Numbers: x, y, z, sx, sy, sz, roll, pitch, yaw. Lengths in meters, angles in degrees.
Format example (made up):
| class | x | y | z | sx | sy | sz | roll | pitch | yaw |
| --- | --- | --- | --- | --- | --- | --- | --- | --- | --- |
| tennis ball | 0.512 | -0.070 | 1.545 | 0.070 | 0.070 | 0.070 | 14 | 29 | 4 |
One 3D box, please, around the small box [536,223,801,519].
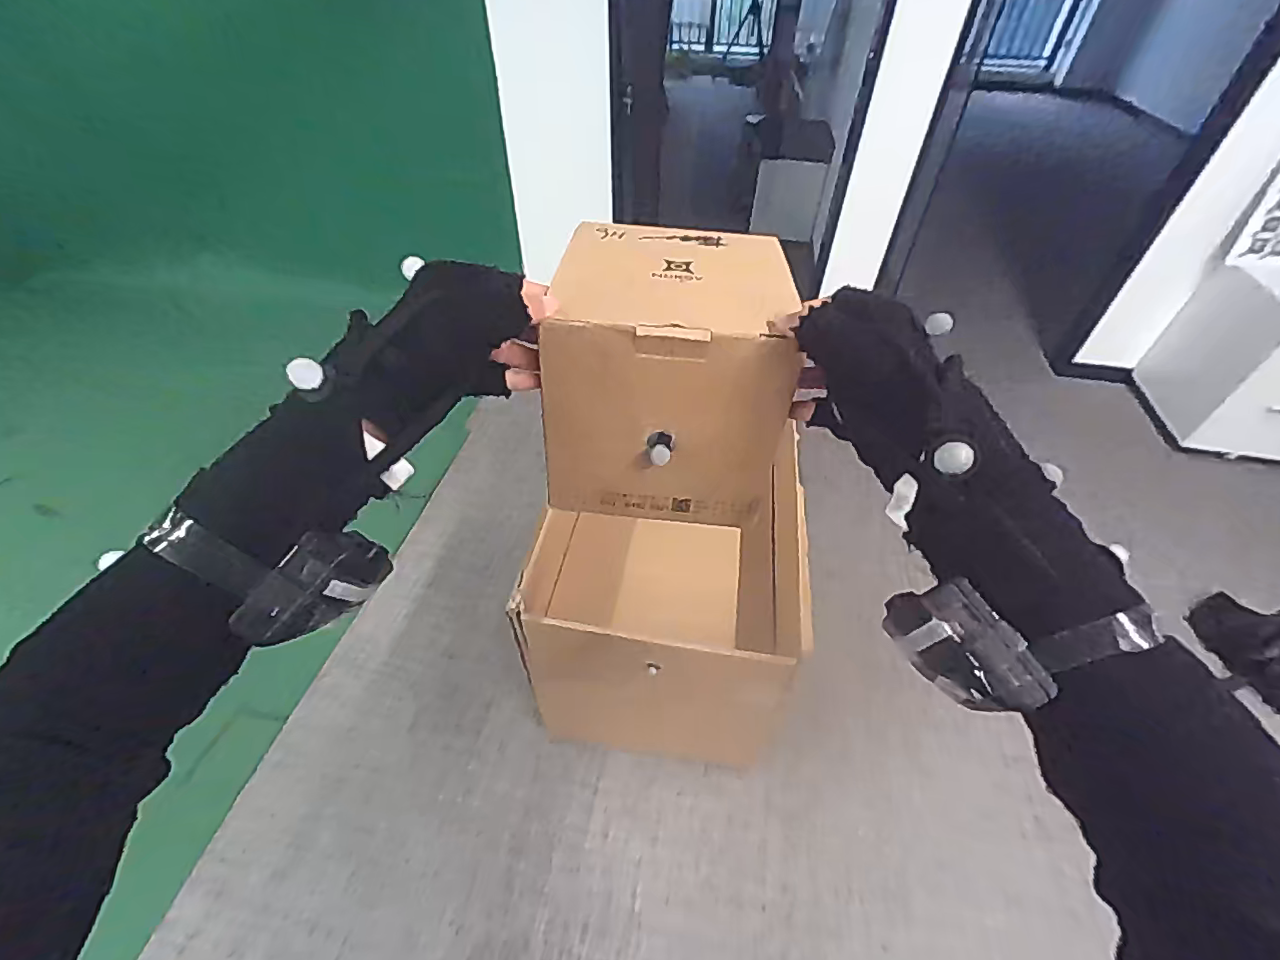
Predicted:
| class | x | y | z | sx | sy | sz | roll | pitch | yaw |
| --- | --- | --- | --- | --- | --- | --- | --- | --- | --- |
| small box | 0.020 | -0.087 | 0.441 | 0.168 | 0.176 | 0.179 | 5 | 44 | 0 |
